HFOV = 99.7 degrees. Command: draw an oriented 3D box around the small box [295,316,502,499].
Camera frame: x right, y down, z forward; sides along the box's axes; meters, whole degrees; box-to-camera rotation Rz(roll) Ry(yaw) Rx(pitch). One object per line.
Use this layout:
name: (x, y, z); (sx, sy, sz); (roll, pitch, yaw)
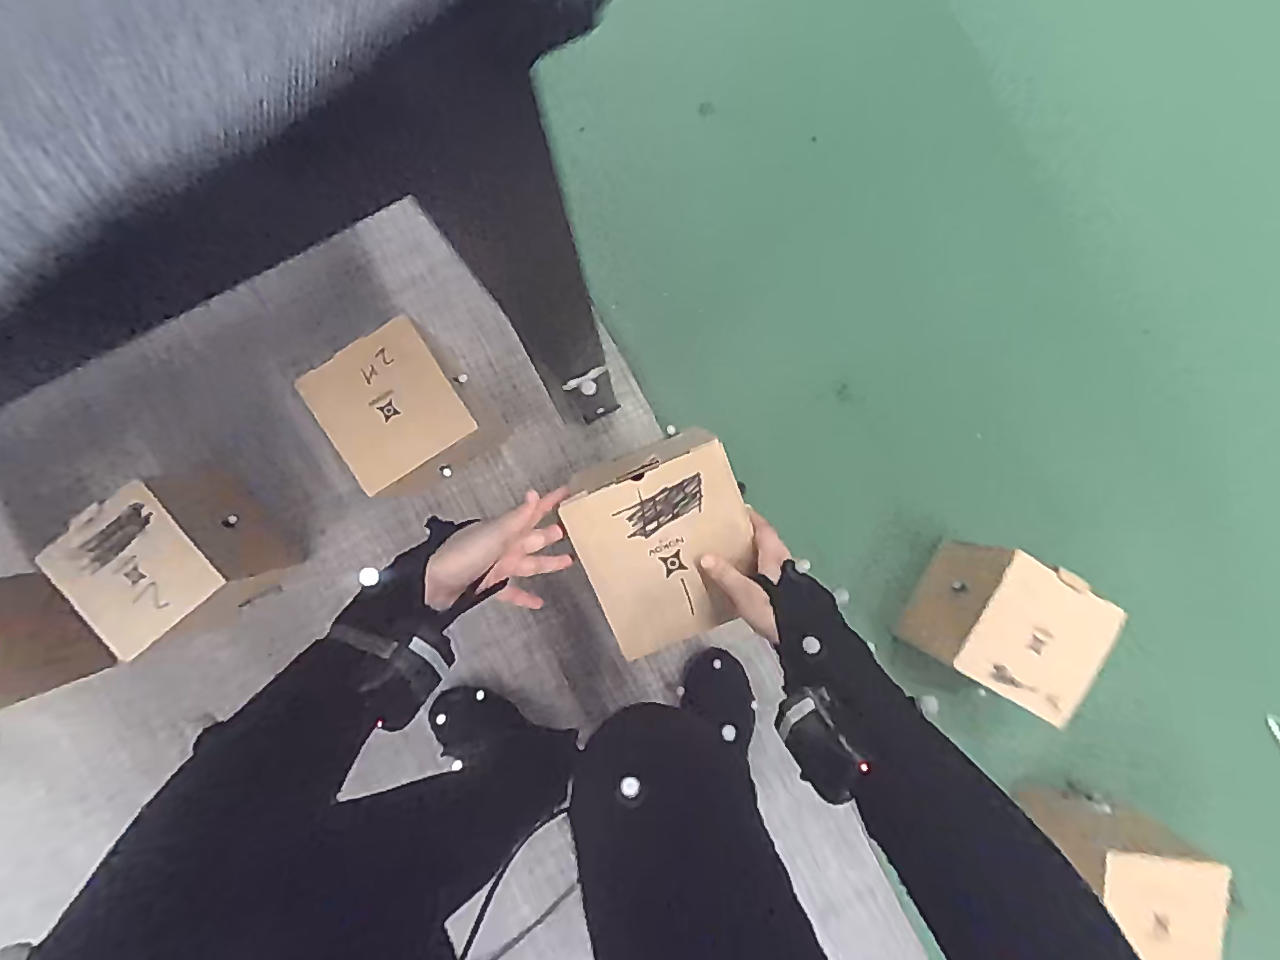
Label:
small box: (-0.316, -0.092, 0.750); (0.168, 0.176, 0.179); (-33, 91, -1)

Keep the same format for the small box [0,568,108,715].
small box: (-0.909, 0.240, 0.746); (0.168, 0.176, 0.179); (-24, 90, 0)

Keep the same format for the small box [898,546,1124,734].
small box: (0.504, 0.209, 0.765); (0.168, 0.176, 0.179); (30, 89, 0)

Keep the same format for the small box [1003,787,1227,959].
small box: (0.654, 0.575, 0.767); (0.168, 0.176, 0.179); (7, 89, -2)
